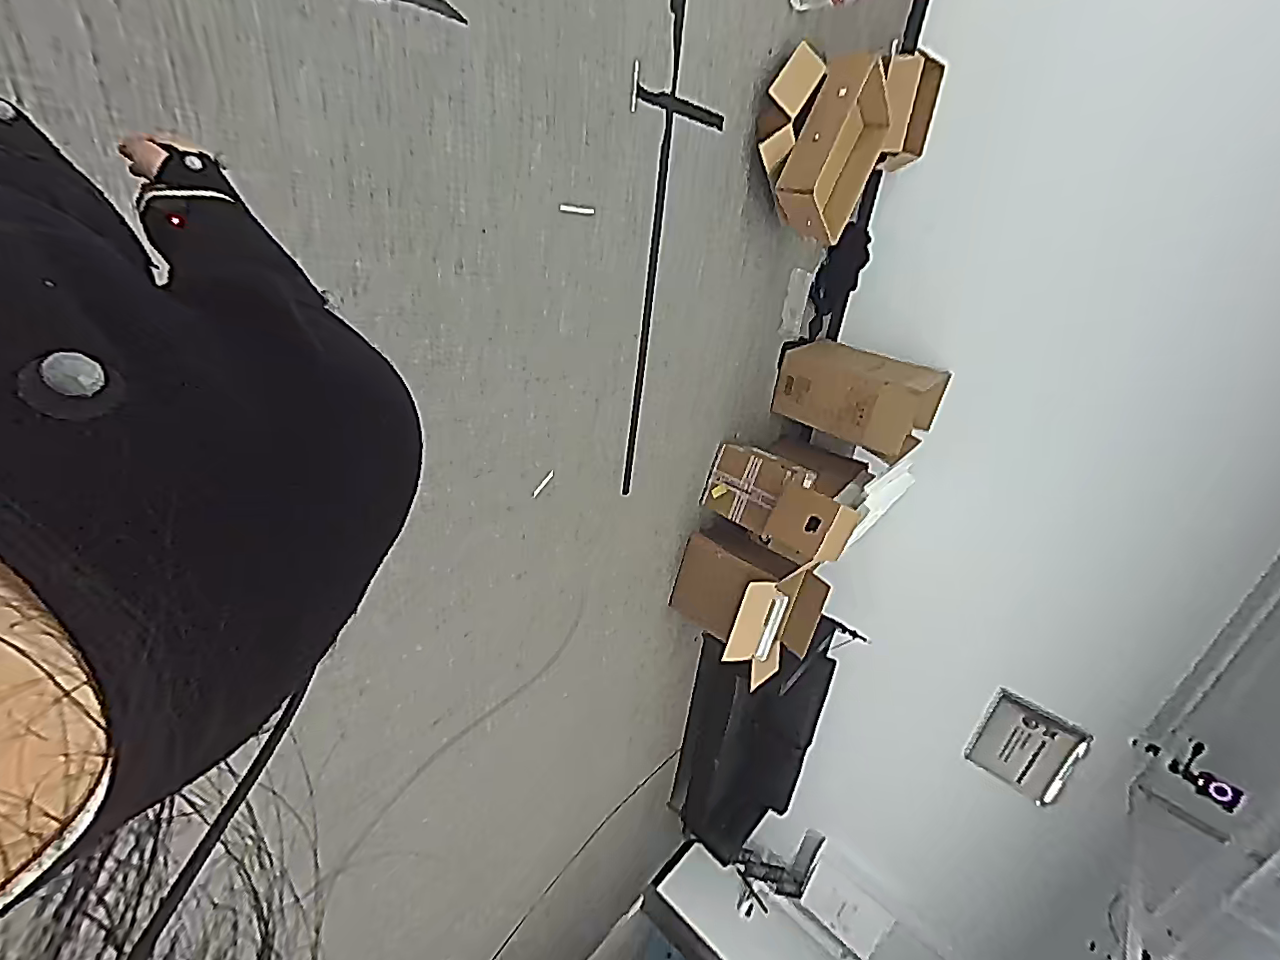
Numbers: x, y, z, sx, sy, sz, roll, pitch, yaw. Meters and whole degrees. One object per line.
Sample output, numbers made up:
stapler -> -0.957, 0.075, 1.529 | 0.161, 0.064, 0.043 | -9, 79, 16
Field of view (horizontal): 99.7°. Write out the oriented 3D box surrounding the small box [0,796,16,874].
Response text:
small box -> -1.457, 0.751, 1.126 | 0.168, 0.176, 0.179 | -23, 130, -44
